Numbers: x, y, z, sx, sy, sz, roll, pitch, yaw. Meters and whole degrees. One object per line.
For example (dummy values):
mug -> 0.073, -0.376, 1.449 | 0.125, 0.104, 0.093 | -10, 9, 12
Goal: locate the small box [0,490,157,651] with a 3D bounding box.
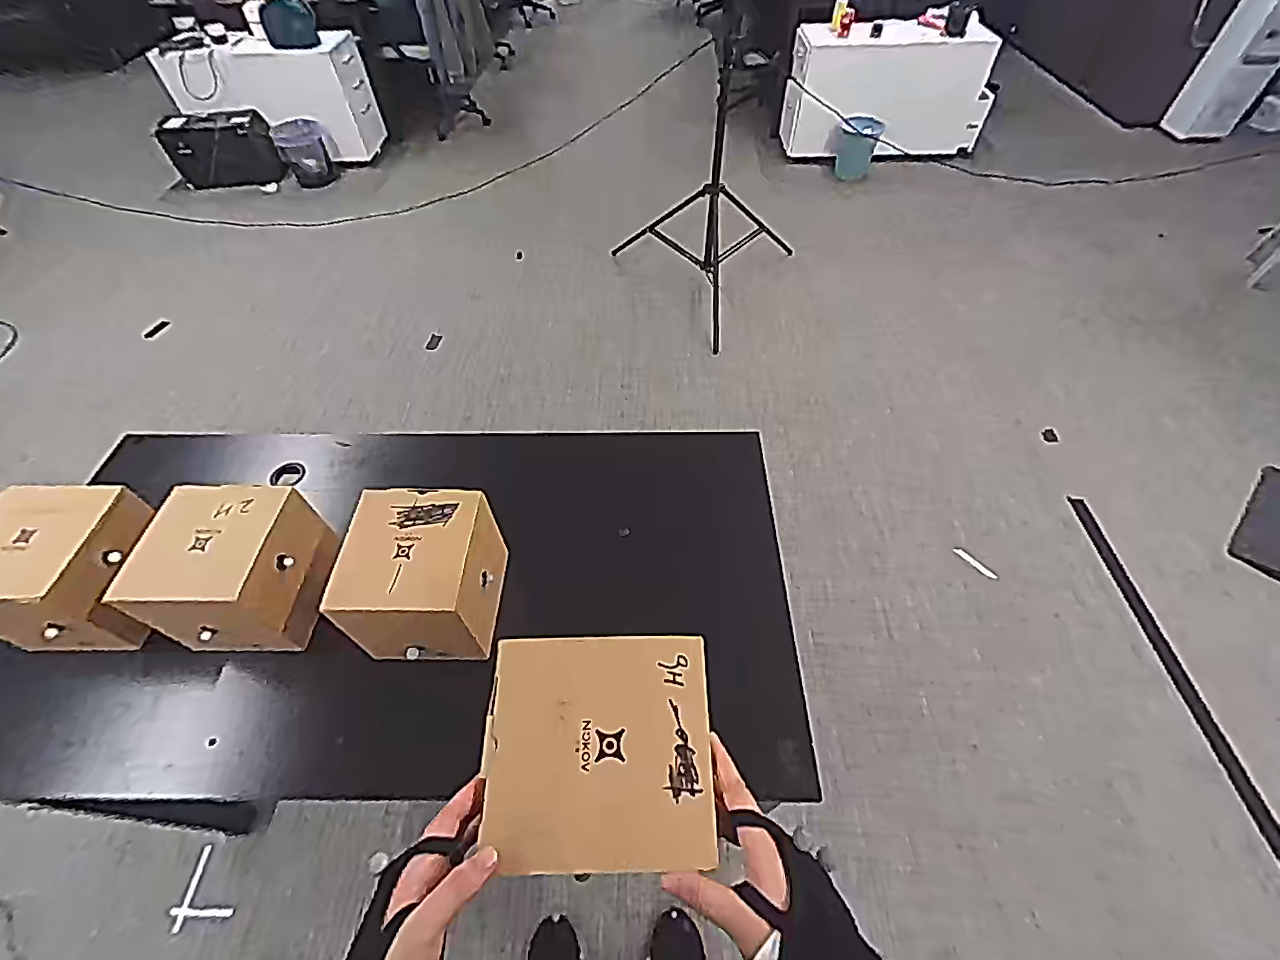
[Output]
small box -> -0.797, 0.132, 0.766 | 0.168, 0.176, 0.179 | 0, 51, 0

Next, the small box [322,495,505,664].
small box -> -0.293, 0.139, 0.749 | 0.168, 0.176, 0.179 | 0, 53, 1

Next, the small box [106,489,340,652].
small box -> -0.558, 0.131, 0.759 | 0.168, 0.176, 0.179 | 0, 52, 1

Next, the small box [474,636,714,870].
small box -> -0.031, 0.245, 0.492 | 0.179, 0.176, 0.168 | -1, 60, 1
